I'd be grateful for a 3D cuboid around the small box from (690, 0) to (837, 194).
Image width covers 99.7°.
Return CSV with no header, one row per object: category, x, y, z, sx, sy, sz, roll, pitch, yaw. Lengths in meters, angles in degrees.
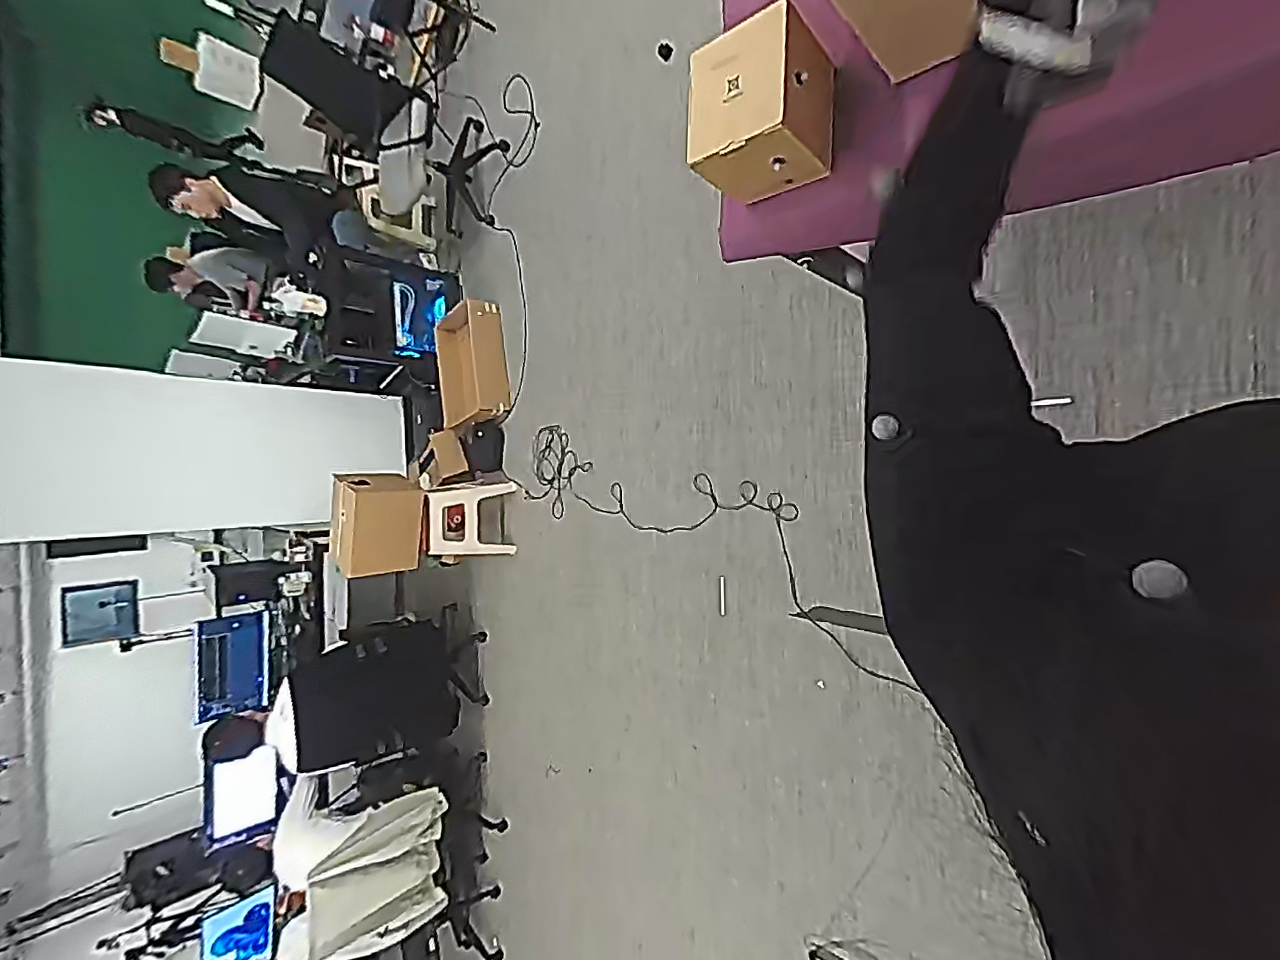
small box,0.195,-0.574,0.842,0.168,0.176,0.179,2,90,42
